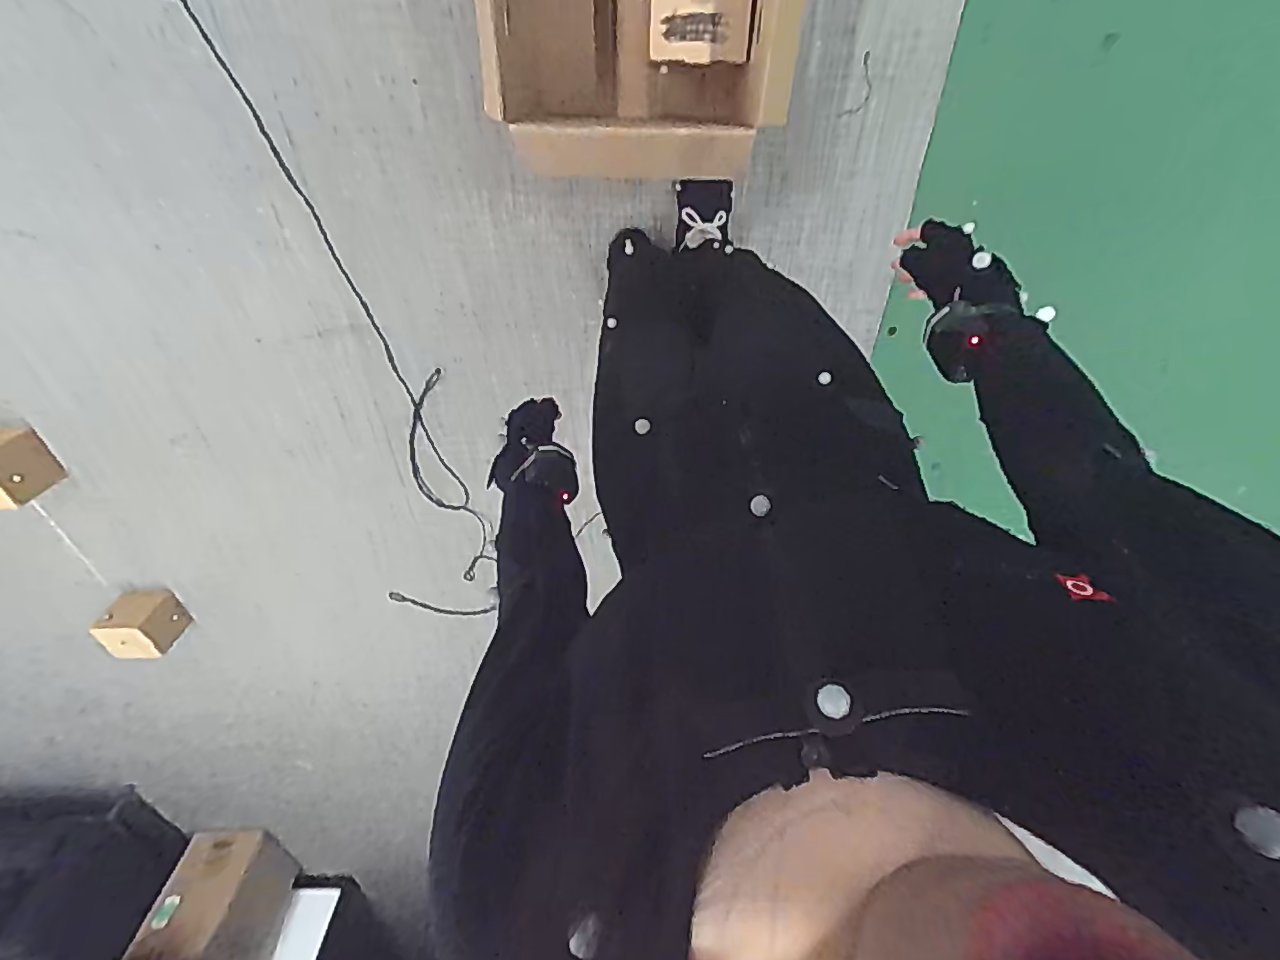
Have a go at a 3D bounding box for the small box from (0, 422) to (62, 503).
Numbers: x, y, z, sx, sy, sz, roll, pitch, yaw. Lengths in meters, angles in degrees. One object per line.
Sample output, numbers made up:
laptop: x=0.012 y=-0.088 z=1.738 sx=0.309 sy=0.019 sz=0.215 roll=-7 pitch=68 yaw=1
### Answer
small box: x=-1.810 y=-0.051 z=1.507 sx=0.168 sy=0.176 sz=0.179 roll=-2 pitch=128 yaw=0

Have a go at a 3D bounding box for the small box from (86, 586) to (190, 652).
small box: x=-1.776 y=0.491 z=1.925 sx=0.179 sy=0.176 sz=0.168 roll=-1 pitch=128 yaw=1
